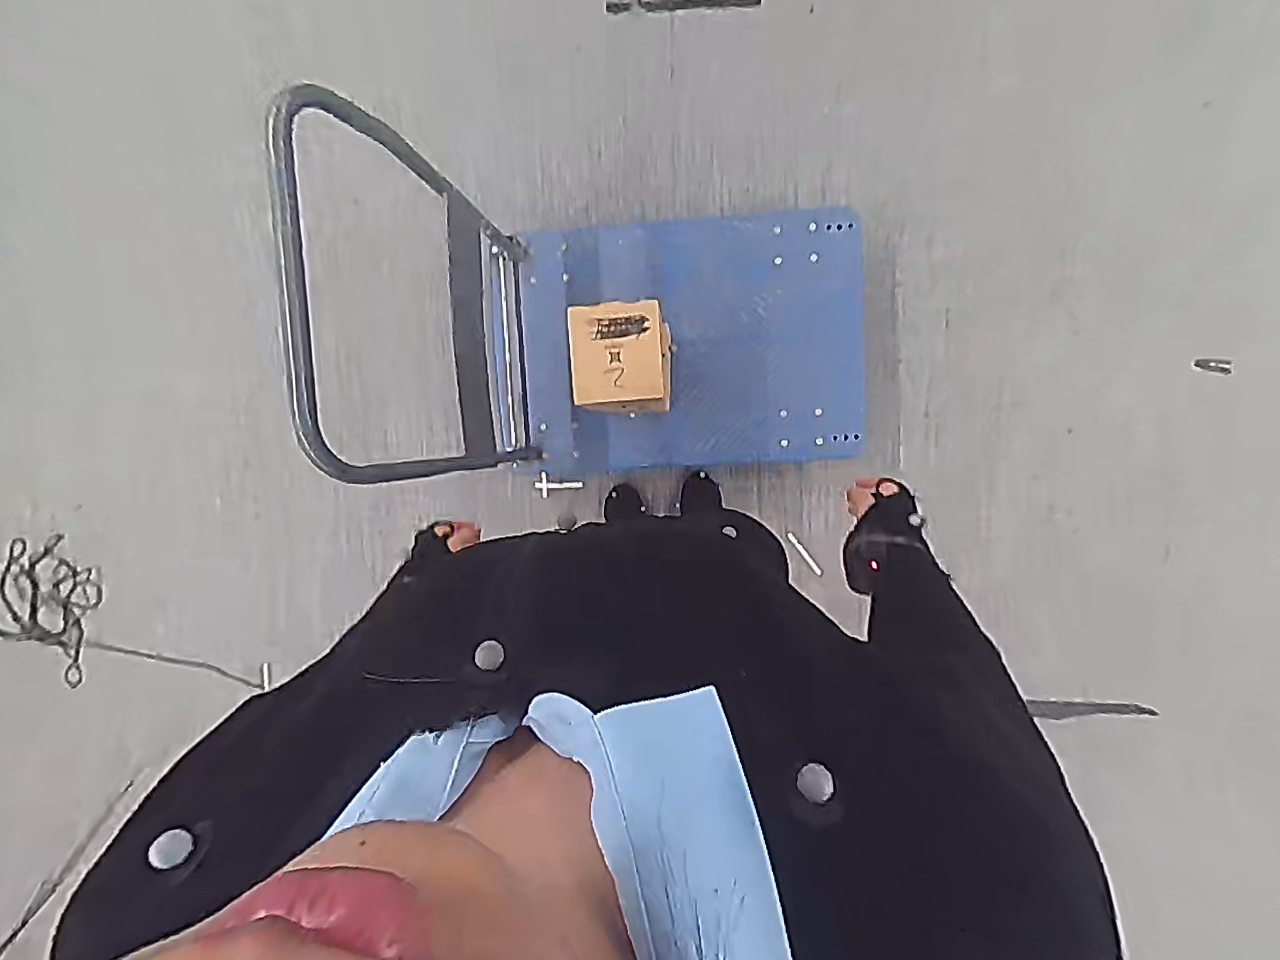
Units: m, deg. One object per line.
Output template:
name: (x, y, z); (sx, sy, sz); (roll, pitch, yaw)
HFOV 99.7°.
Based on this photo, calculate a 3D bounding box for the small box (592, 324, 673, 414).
small box: (-0.012, -0.241, 1.204); (0.168, 0.176, 0.179); (1, 94, 5)
